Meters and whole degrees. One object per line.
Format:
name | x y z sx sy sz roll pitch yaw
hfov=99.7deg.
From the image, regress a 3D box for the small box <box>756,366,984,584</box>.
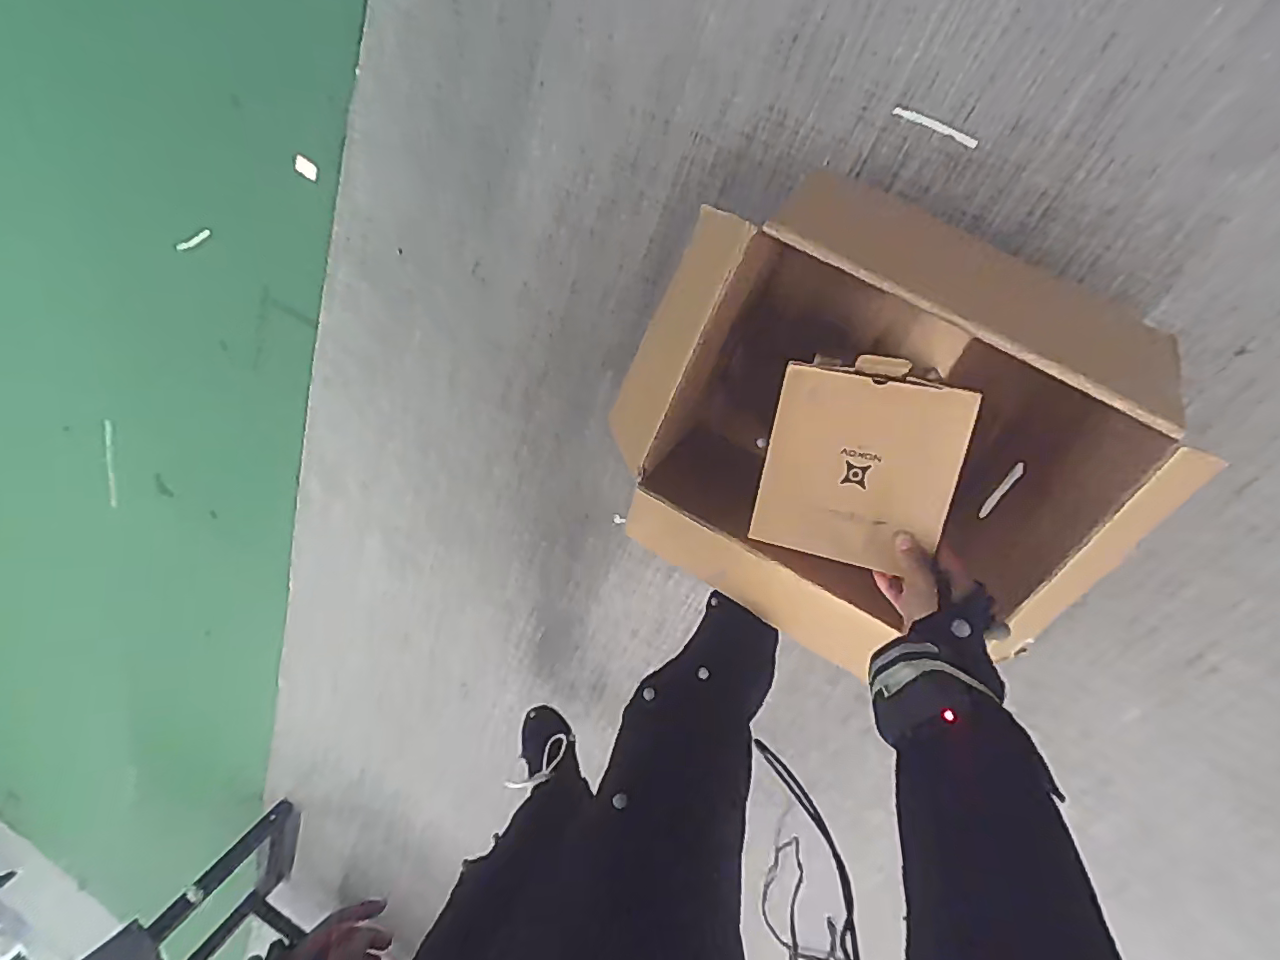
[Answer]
small box | 0.229 -0.015 0.574 0.168 0.176 0.179 13 101 16
